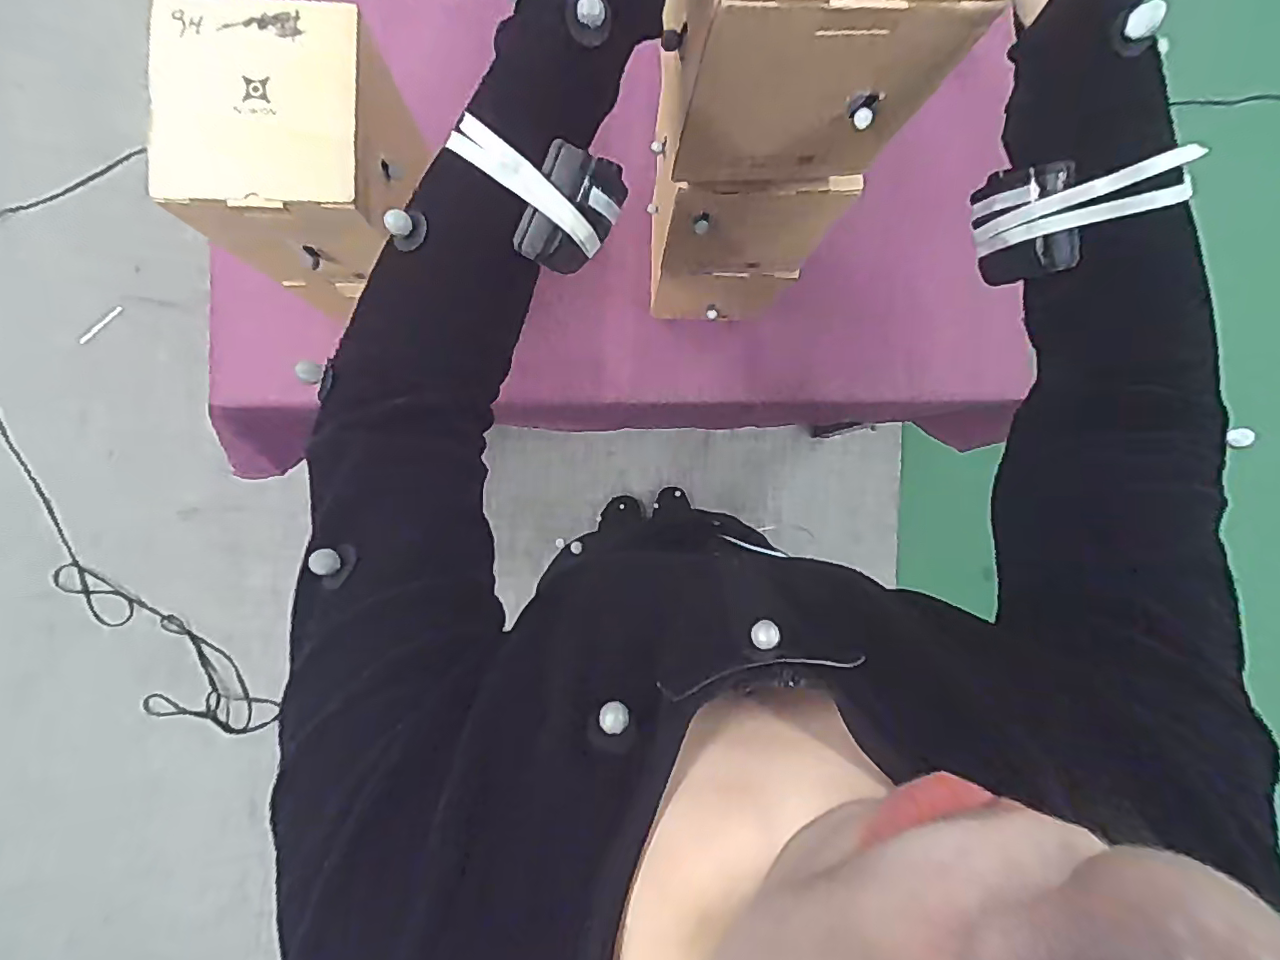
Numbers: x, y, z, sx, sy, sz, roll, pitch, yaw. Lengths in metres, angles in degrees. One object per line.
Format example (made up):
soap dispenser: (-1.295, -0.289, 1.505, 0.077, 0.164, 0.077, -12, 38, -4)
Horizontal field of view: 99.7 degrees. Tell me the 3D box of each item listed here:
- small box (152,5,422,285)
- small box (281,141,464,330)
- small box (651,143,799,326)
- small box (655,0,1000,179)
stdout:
small box: (-0.324, -0.305, 0.531, 0.168, 0.176, 0.179, 0, 89, -4)
small box: (-0.330, -0.299, 0.695, 0.168, 0.176, 0.179, -2, 88, -4)
small box: (0.103, -0.321, 0.720, 0.168, 0.176, 0.179, 1, 89, -3)
small box: (0.104, -0.330, 0.369, 0.168, 0.176, 0.179, -5, 89, -5)
